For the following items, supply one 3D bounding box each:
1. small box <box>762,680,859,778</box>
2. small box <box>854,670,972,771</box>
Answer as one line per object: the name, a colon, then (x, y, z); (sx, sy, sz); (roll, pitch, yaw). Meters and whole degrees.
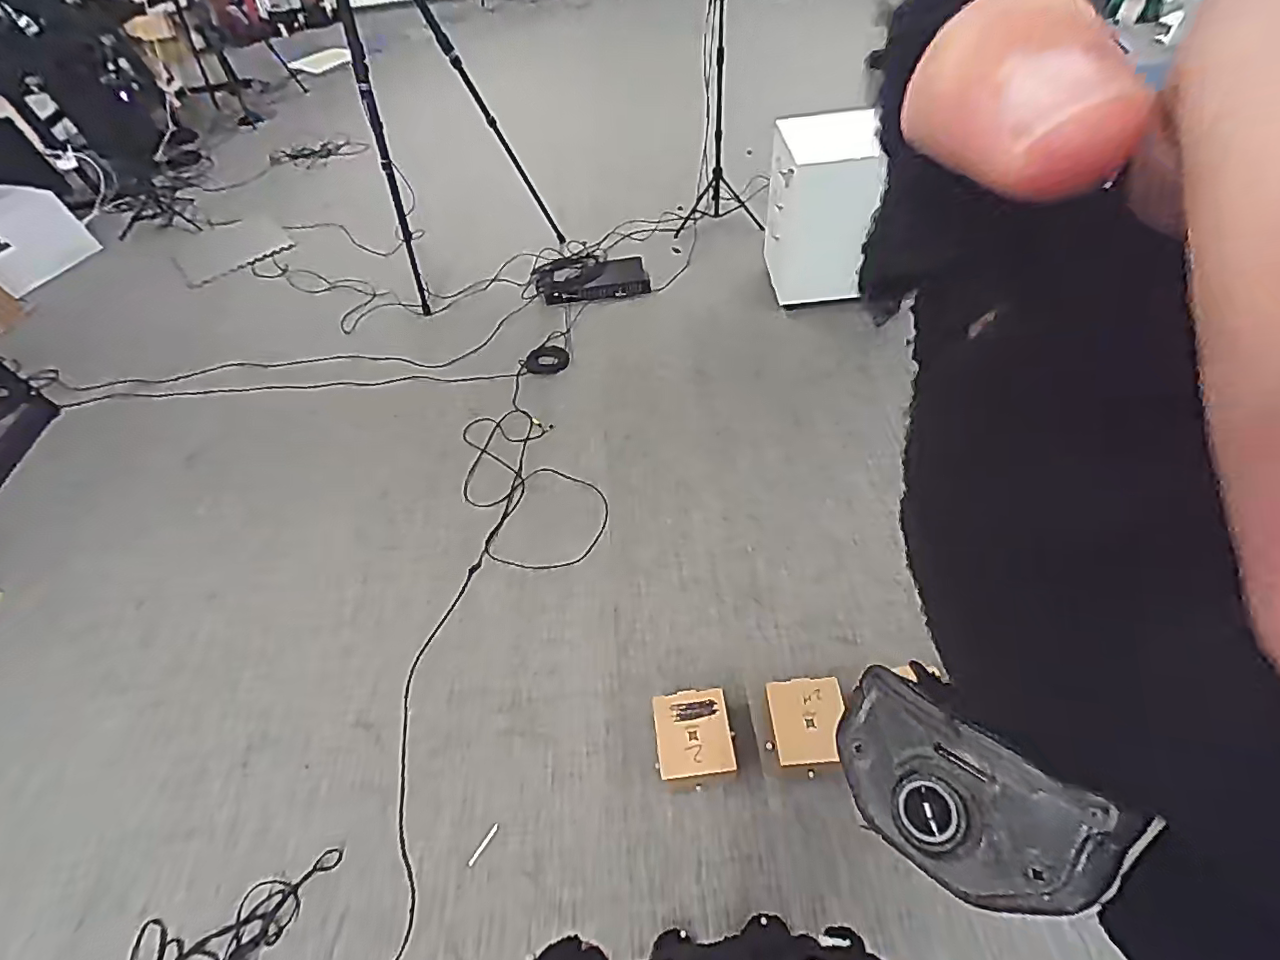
small box: (0.384, 0.581, 1.249); (0.168, 0.176, 0.179); (-5, 52, 2)
small box: (0.616, 0.558, 1.244); (0.168, 0.176, 0.179); (-7, 52, 1)
